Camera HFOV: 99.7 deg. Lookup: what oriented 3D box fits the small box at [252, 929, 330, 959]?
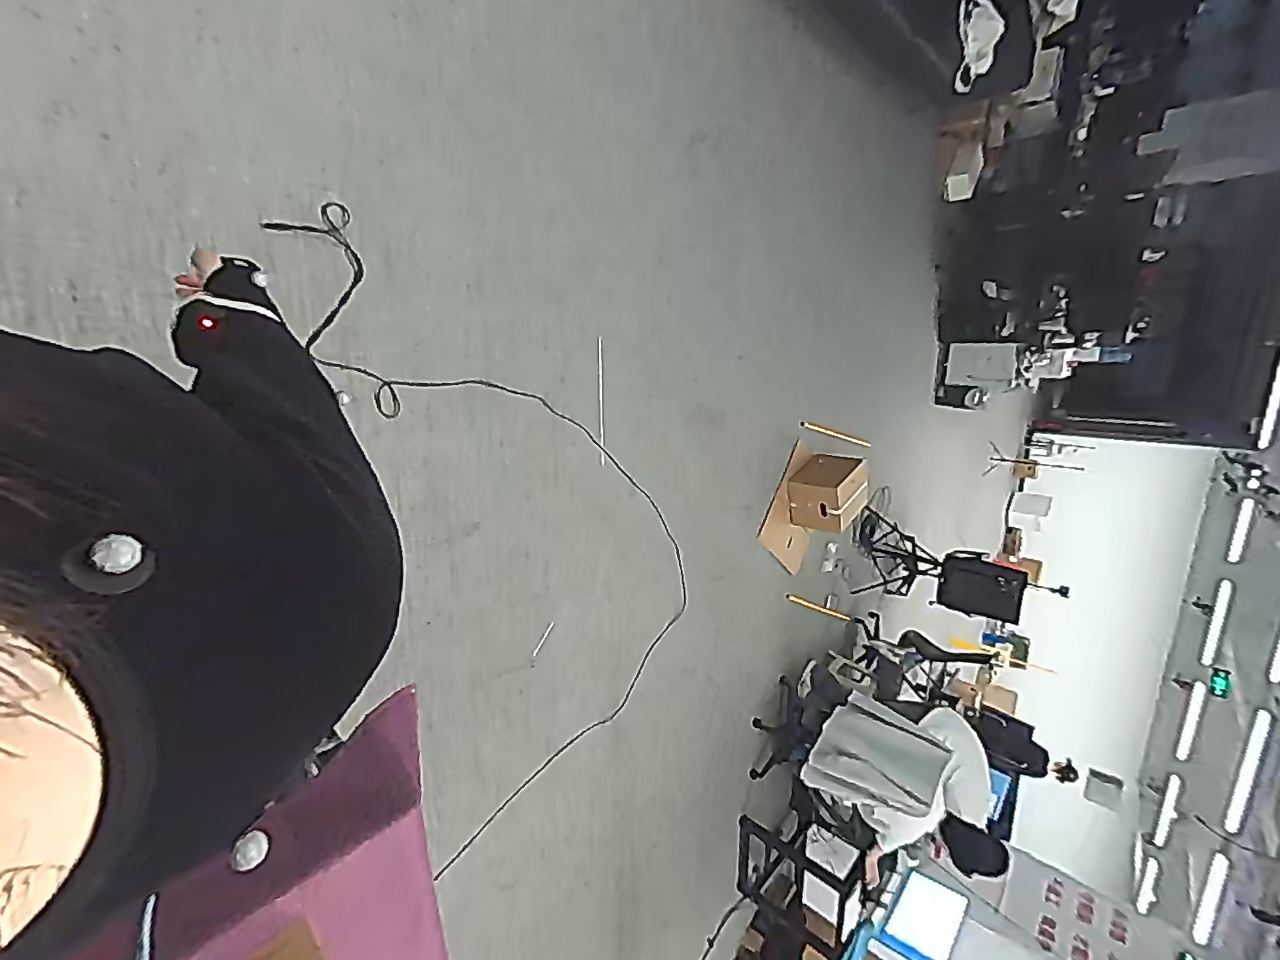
[{"bbox_3d":[-0.482,0.750,0.708,0.168,0.176,0.179,-17,112,-44],"label":"small box"}]
